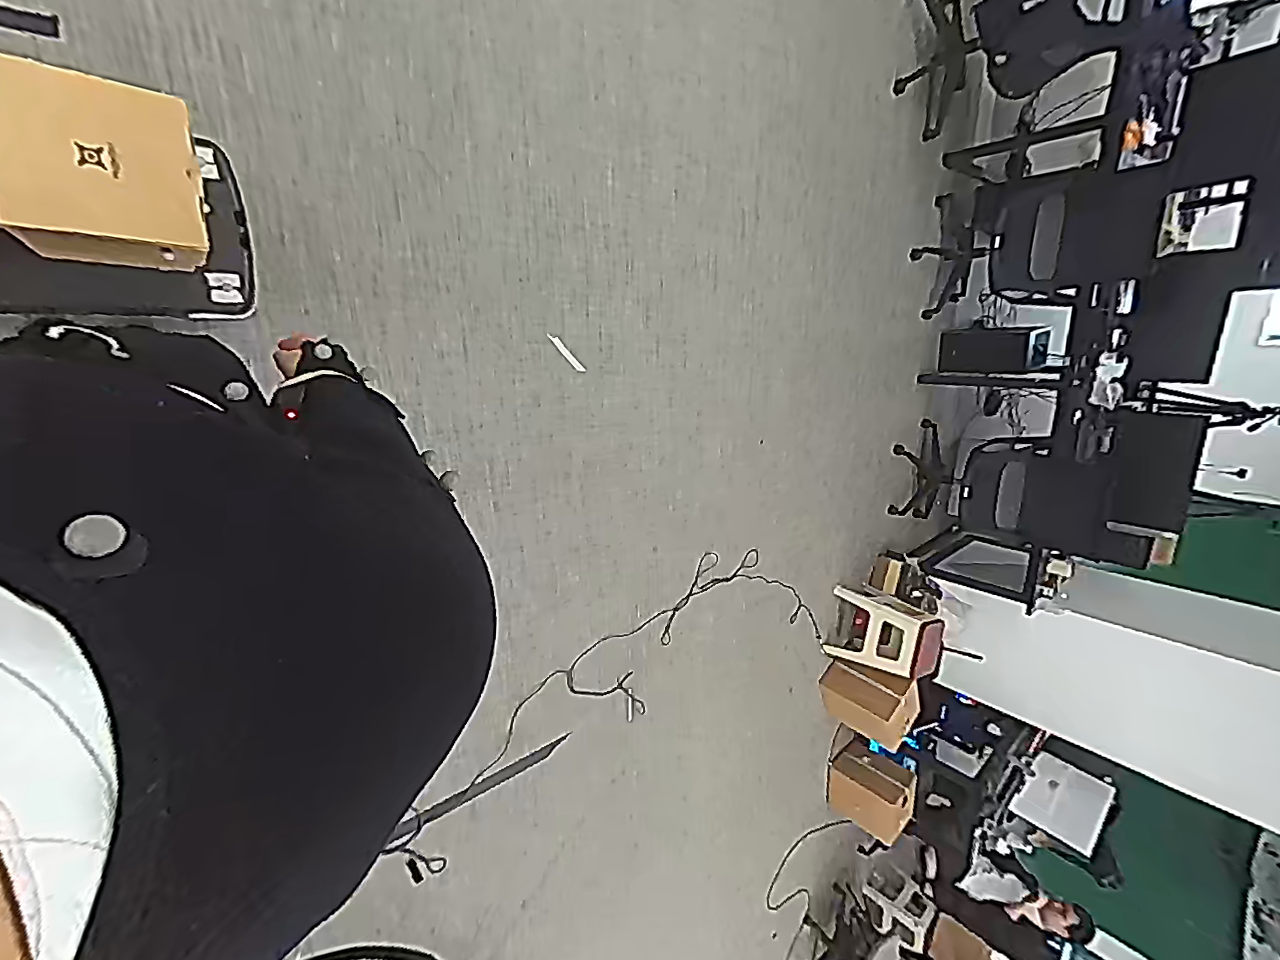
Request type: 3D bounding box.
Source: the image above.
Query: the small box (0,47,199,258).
[{"bbox_3d":[-0.653,-0.370,0.645,0.179,0.176,0.168,-10,107,-41],"label":"small box"}]

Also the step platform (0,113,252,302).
[{"bbox_3d":[-0.989,-0.423,0.790,0.684,0.204,0.286,-13,108,-39],"label":"step platform"}]
